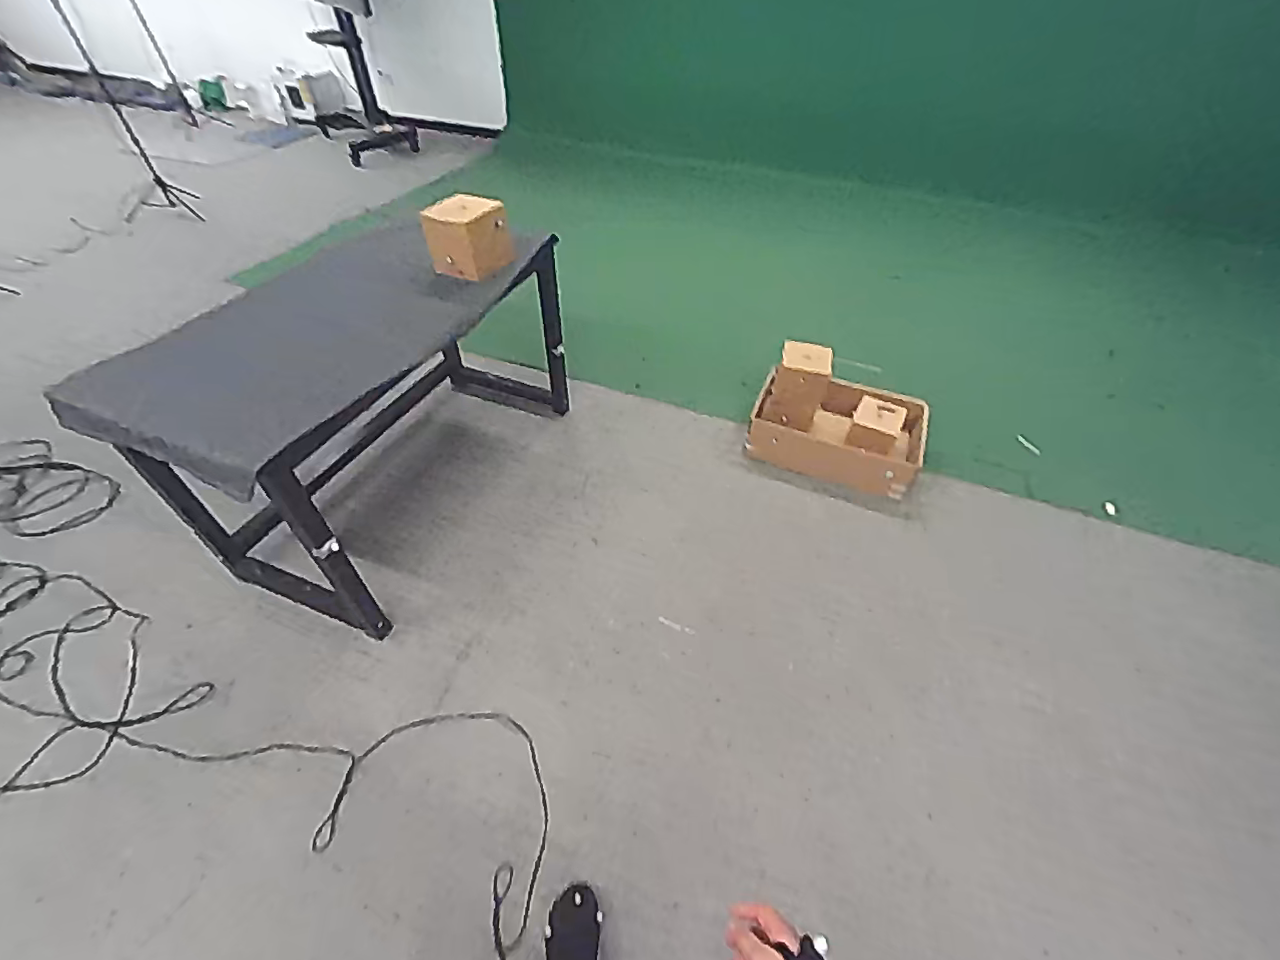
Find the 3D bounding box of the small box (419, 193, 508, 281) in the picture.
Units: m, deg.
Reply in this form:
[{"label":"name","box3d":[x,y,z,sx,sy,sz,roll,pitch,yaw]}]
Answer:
[{"label":"small box","box3d":[-0.502,-0.706,1.570,0.168,0.176,0.179,20,50,19]}]

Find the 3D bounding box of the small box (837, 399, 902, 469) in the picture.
[{"label":"small box","box3d":[0.876,-0.177,2.075,0.168,0.176,0.179,24,52,20]}]

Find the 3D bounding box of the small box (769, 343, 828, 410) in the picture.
[{"label":"small box","box3d":[0.592,-0.385,2.032,0.179,0.176,0.168,13,49,7]}]

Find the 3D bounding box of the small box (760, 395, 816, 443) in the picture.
[{"label":"small box","box3d":[0.591,-0.271,2.151,0.179,0.176,0.168,19,50,16]}]
